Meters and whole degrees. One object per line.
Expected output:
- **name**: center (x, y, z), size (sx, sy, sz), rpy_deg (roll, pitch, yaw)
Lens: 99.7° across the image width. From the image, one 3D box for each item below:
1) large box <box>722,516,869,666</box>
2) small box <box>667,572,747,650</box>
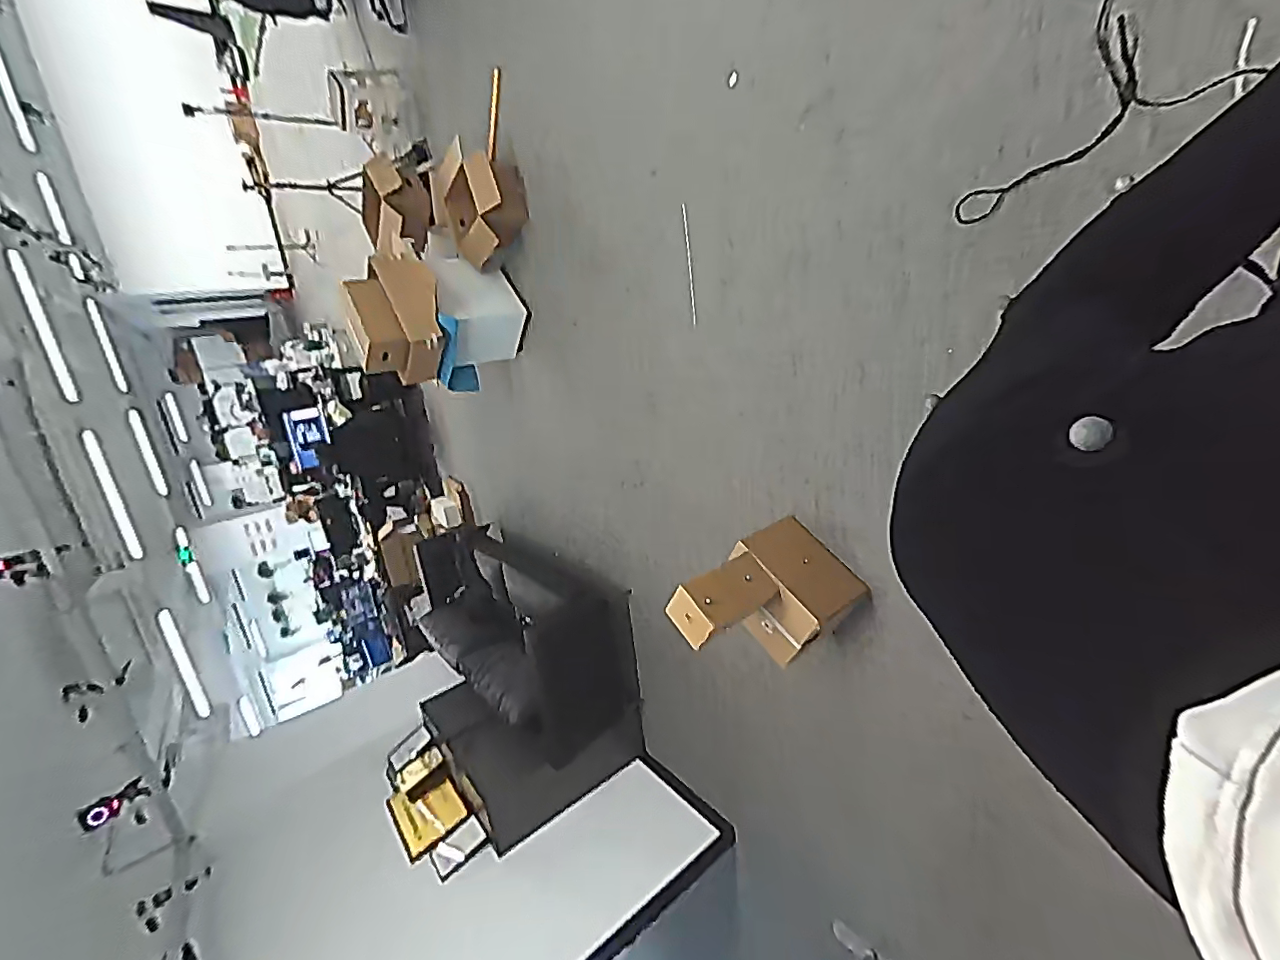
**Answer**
- **large box**: center (0.570, 0.410, 2.068), size (0.408, 0.320, 0.320), rpy_deg (46, 140, 30)
- **small box**: center (0.226, 0.434, 1.831), size (0.179, 0.176, 0.168), rpy_deg (49, 139, 27)
